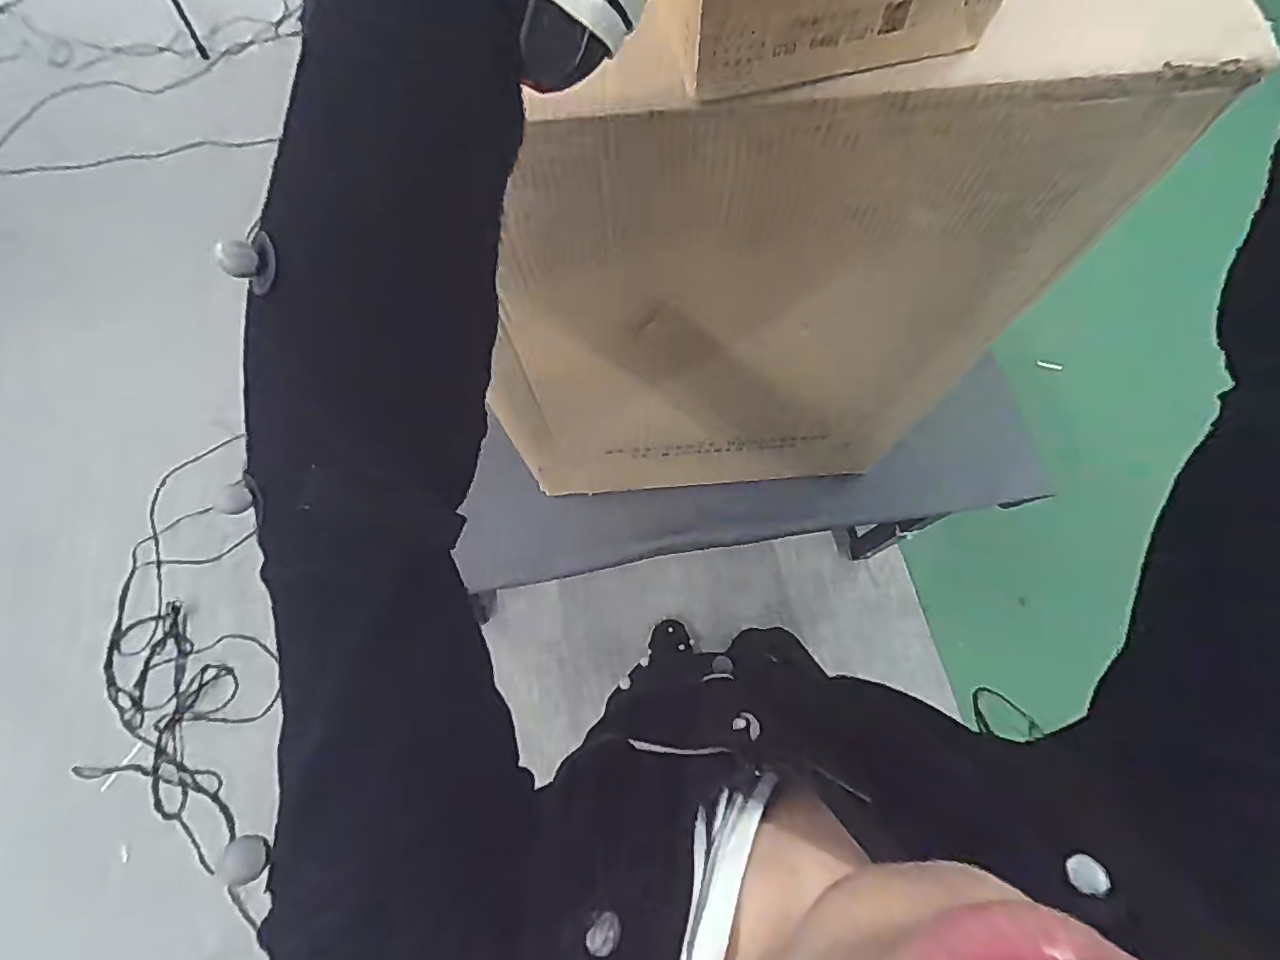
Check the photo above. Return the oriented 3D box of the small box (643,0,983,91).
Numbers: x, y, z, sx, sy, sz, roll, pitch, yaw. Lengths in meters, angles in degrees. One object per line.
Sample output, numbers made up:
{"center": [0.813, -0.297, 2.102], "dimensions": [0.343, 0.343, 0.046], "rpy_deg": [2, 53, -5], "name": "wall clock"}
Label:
{"center": [0.081, -0.317, 0.247], "dimensions": [0.168, 0.176, 0.179], "rpy_deg": [-14, 72, -3], "name": "small box"}
